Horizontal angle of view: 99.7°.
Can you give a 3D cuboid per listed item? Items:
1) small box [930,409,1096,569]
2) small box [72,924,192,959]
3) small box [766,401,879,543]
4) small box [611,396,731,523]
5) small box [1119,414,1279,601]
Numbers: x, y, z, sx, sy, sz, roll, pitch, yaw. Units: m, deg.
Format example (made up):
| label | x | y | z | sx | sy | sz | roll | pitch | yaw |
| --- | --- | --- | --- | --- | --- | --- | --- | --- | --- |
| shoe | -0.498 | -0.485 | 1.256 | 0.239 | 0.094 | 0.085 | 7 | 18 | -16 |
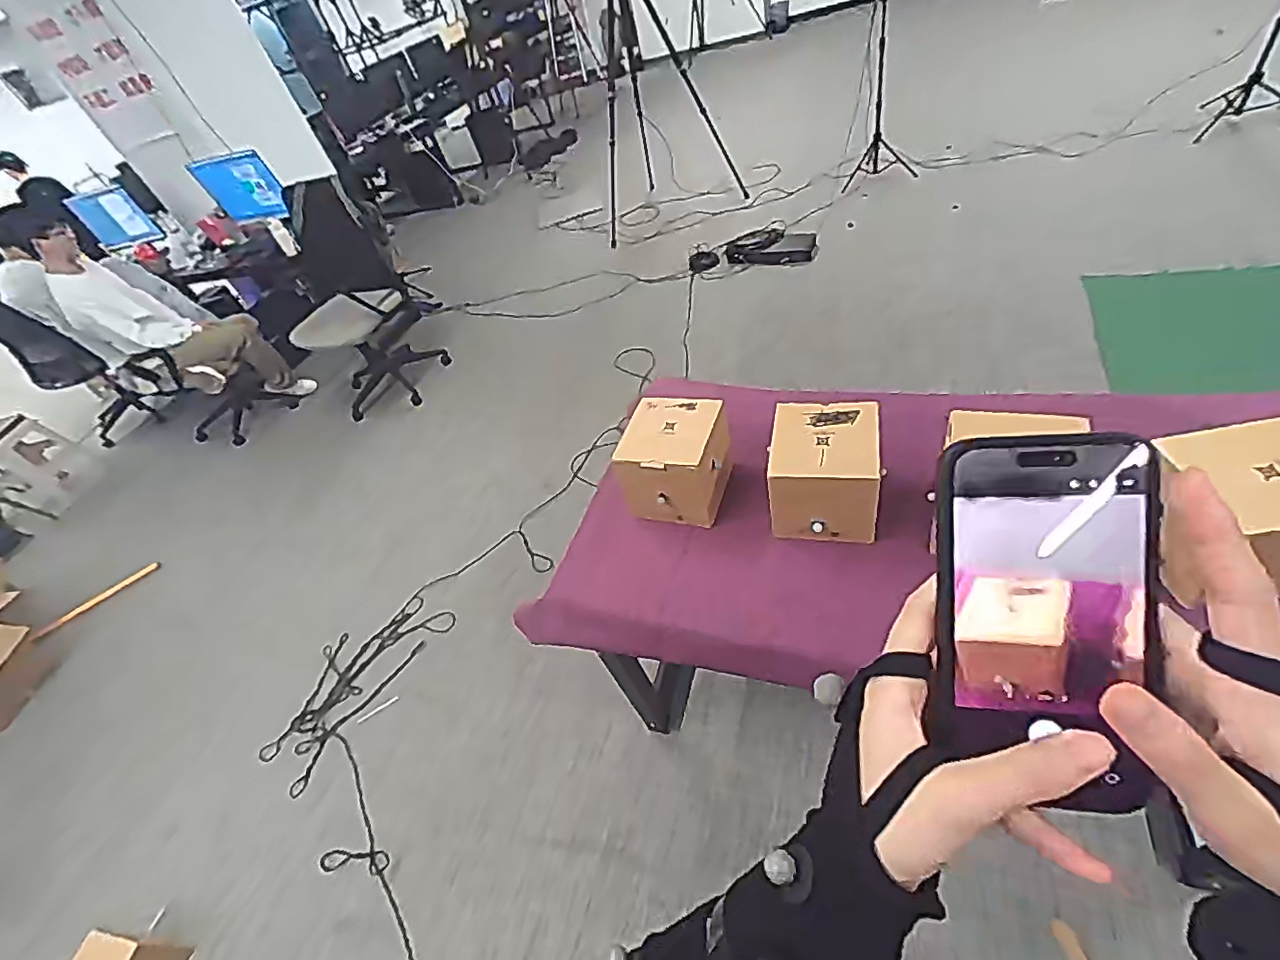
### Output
| label | x | y | z | sx | sy | sz | roll | pitch | yaw |
| --- | --- | --- | --- | --- | --- | --- | --- | --- | --- |
| small box | 0.547 | 0.014 | 0.816 | 0.179 | 0.176 | 0.168 | 8 | 52 | 26 |
| small box | -1.277 | 1.221 | 1.333 | 0.179 | 0.176 | 0.168 | -2 | 48 | 18 |
| small box | 0.314 | -0.016 | 0.926 | 0.168 | 0.176 | 0.179 | 2 | 49 | 21 |
| small box | 0.069 | -0.039 | 1.034 | 0.168 | 0.176 | 0.179 | 6 | 51 | 24 |
| small box | 0.780 | 0.041 | 0.706 | 0.179 | 0.176 | 0.168 | -11 | 45 | 10 |
